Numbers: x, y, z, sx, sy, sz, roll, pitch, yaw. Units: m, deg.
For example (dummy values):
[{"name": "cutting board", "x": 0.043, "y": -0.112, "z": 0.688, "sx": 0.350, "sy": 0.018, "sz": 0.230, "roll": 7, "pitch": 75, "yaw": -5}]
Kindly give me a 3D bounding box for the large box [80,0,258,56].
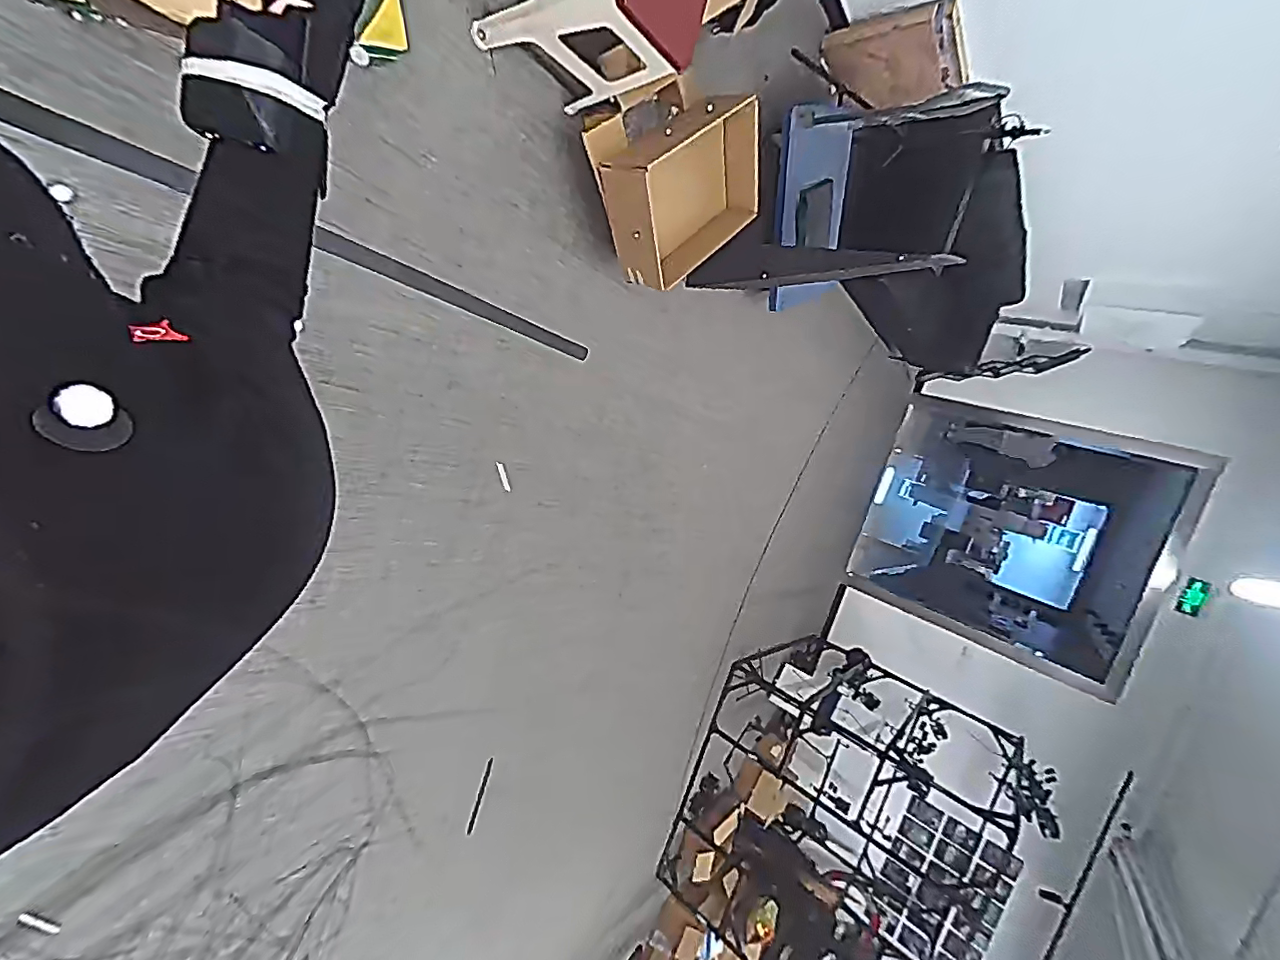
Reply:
[{"name": "large box", "x": -0.433, "y": -0.500, "z": 0.246, "sx": 0.408, "sy": 0.320, "sz": 0.320, "roll": 2, "pitch": 119, "yaw": -57}]
